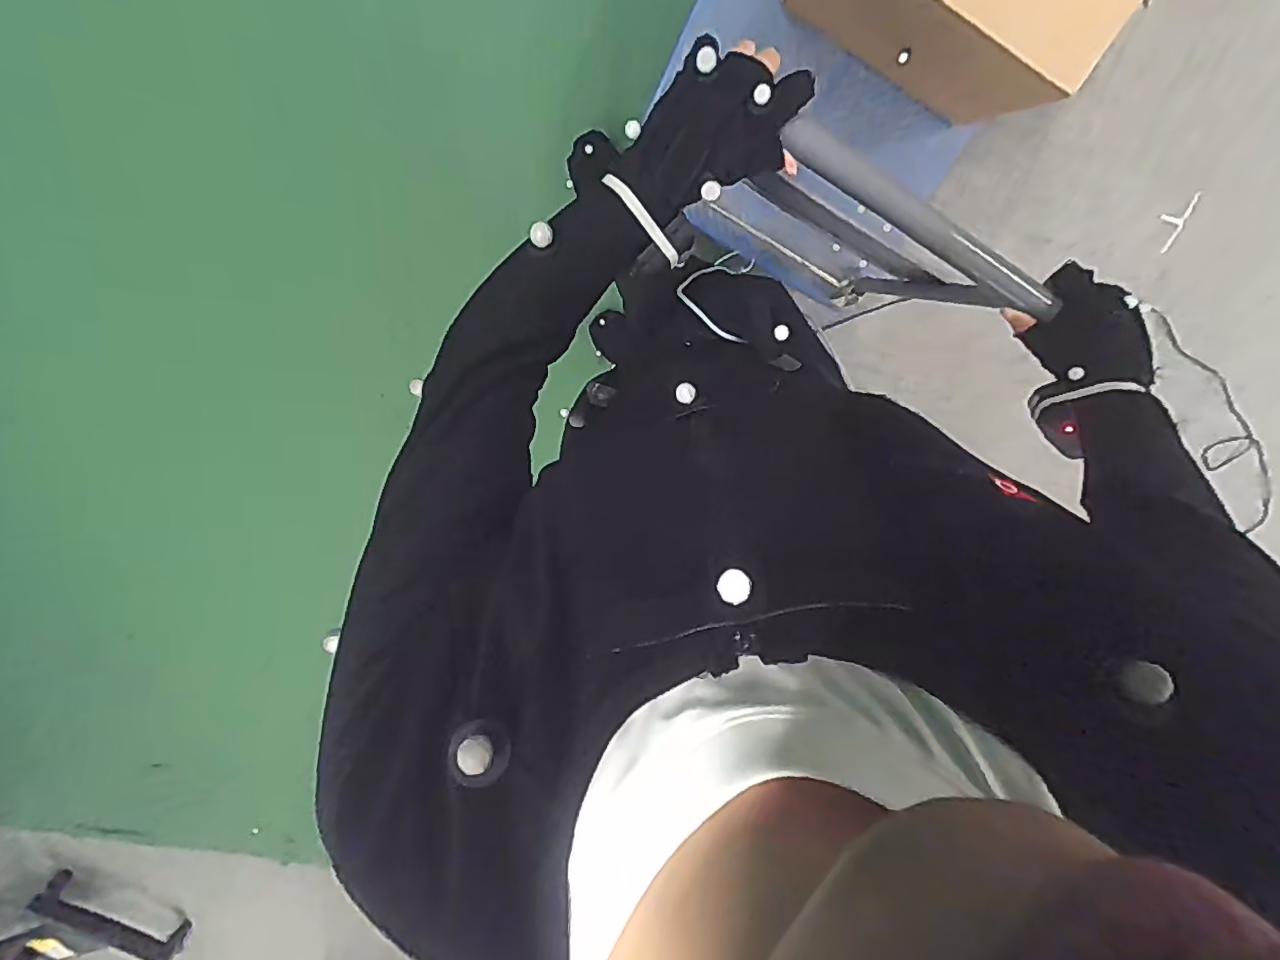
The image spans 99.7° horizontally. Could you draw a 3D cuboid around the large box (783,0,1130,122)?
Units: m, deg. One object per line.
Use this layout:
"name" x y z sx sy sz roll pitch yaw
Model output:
"large box" 0.490 -0.807 0.800 0.408 0.320 0.320 24 113 -11
